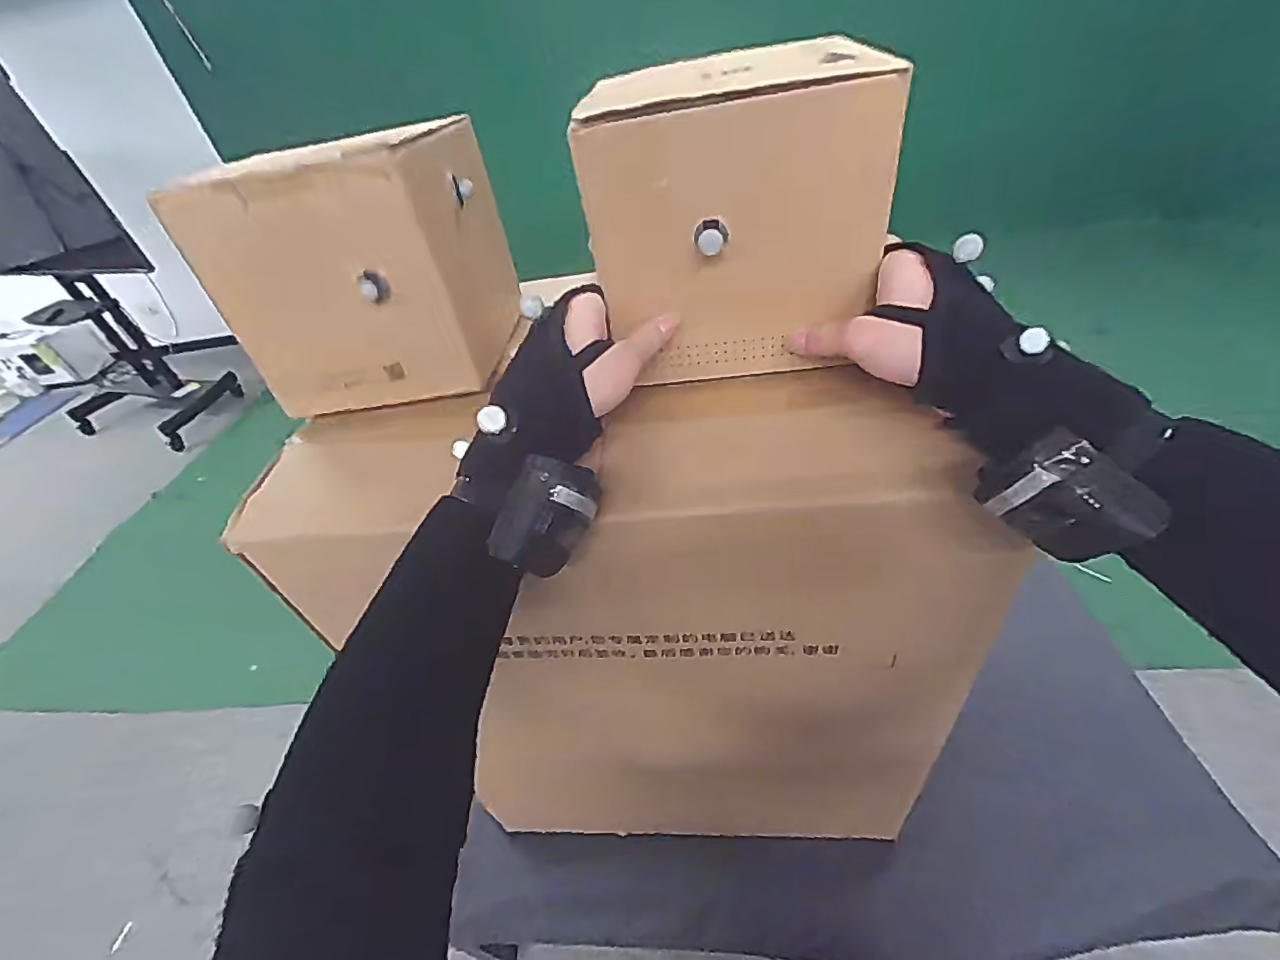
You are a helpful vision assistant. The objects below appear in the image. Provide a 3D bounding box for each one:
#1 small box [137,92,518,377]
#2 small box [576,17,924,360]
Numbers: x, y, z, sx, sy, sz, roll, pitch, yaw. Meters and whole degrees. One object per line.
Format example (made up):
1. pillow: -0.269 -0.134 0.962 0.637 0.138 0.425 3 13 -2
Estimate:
1. small box: -0.207 -0.188 0.426 0.168 0.176 0.179 -6 34 5
2. small box: 0.067 -0.198 0.379 0.179 0.176 0.168 -4 43 7
